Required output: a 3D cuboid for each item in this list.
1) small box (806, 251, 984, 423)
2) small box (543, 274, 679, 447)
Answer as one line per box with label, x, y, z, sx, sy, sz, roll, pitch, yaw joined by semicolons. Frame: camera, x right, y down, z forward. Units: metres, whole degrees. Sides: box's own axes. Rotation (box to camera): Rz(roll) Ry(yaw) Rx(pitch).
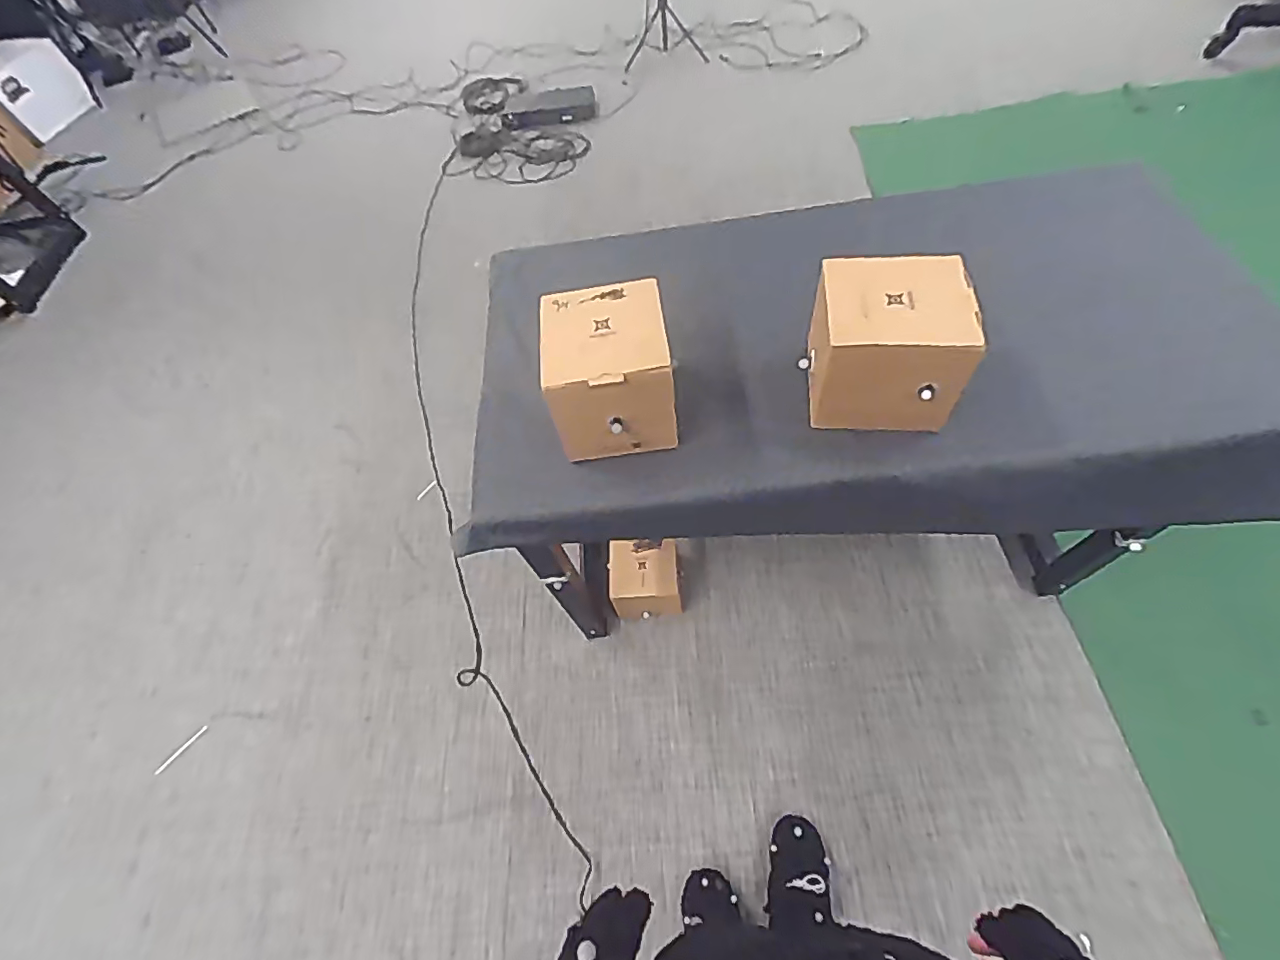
small box;0.335;-0.191;0.750;0.179;0.176;0.168;1;58;9
small box;-0.038;-0.161;0.777;0.168;0.176;0.179;-8;58;2
